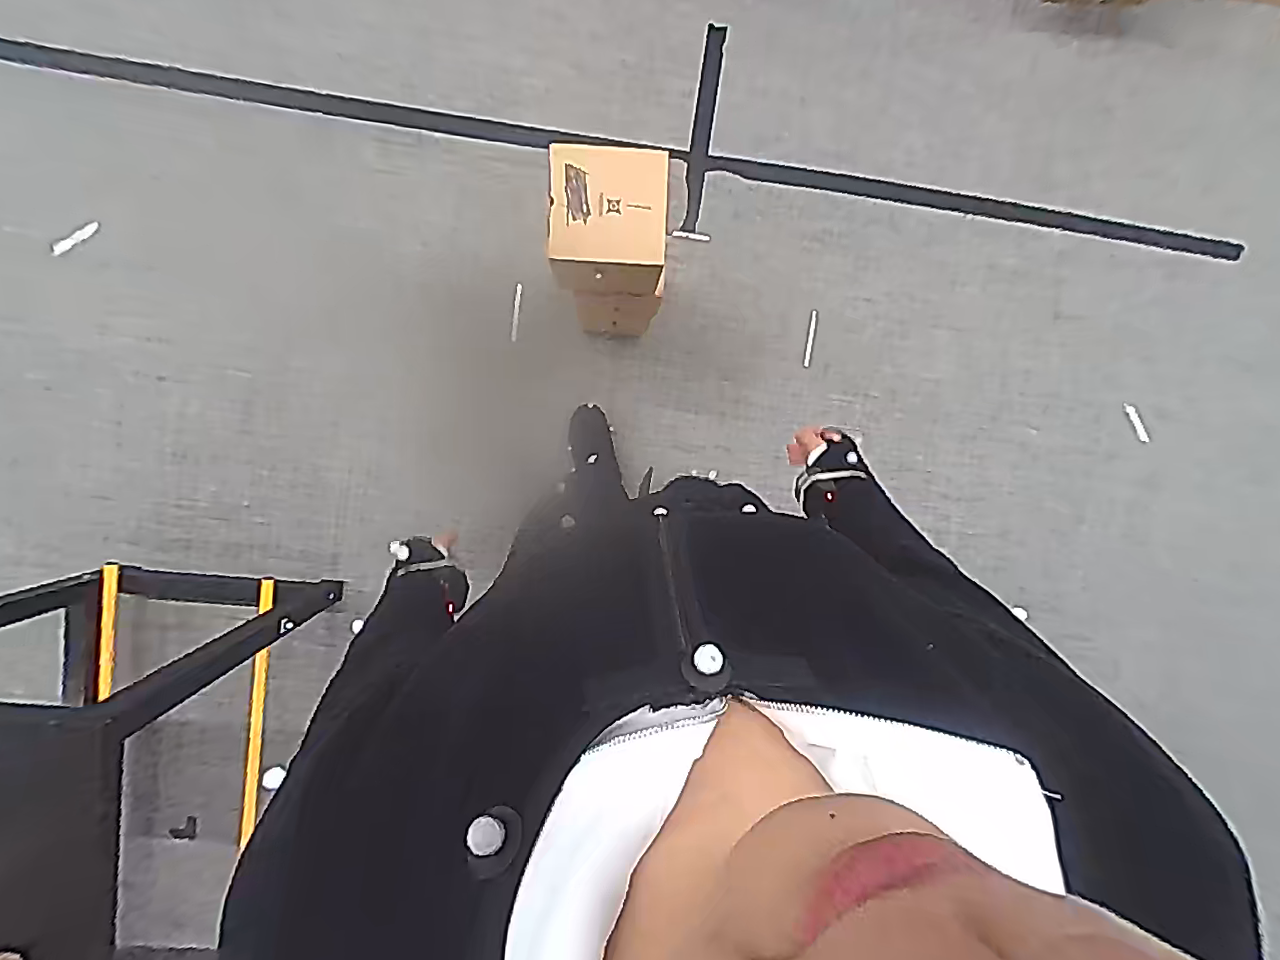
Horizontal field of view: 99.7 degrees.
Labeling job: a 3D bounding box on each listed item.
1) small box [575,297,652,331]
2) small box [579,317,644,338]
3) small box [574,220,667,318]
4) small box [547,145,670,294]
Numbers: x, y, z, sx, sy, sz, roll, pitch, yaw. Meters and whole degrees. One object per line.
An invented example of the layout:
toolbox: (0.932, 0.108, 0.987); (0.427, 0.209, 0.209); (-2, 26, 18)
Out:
small box: (-0.049, -0.435, 1.199); (0.168, 0.176, 0.179); (6, 95, -4)
small box: (-0.062, -0.467, 1.360); (0.168, 0.176, 0.179); (5, 96, -3)
small box: (-0.040, -0.420, 1.035); (0.168, 0.176, 0.179); (1, 95, -3)
small box: (-0.051, -0.406, 0.870); (0.179, 0.176, 0.168); (2, 95, -4)
